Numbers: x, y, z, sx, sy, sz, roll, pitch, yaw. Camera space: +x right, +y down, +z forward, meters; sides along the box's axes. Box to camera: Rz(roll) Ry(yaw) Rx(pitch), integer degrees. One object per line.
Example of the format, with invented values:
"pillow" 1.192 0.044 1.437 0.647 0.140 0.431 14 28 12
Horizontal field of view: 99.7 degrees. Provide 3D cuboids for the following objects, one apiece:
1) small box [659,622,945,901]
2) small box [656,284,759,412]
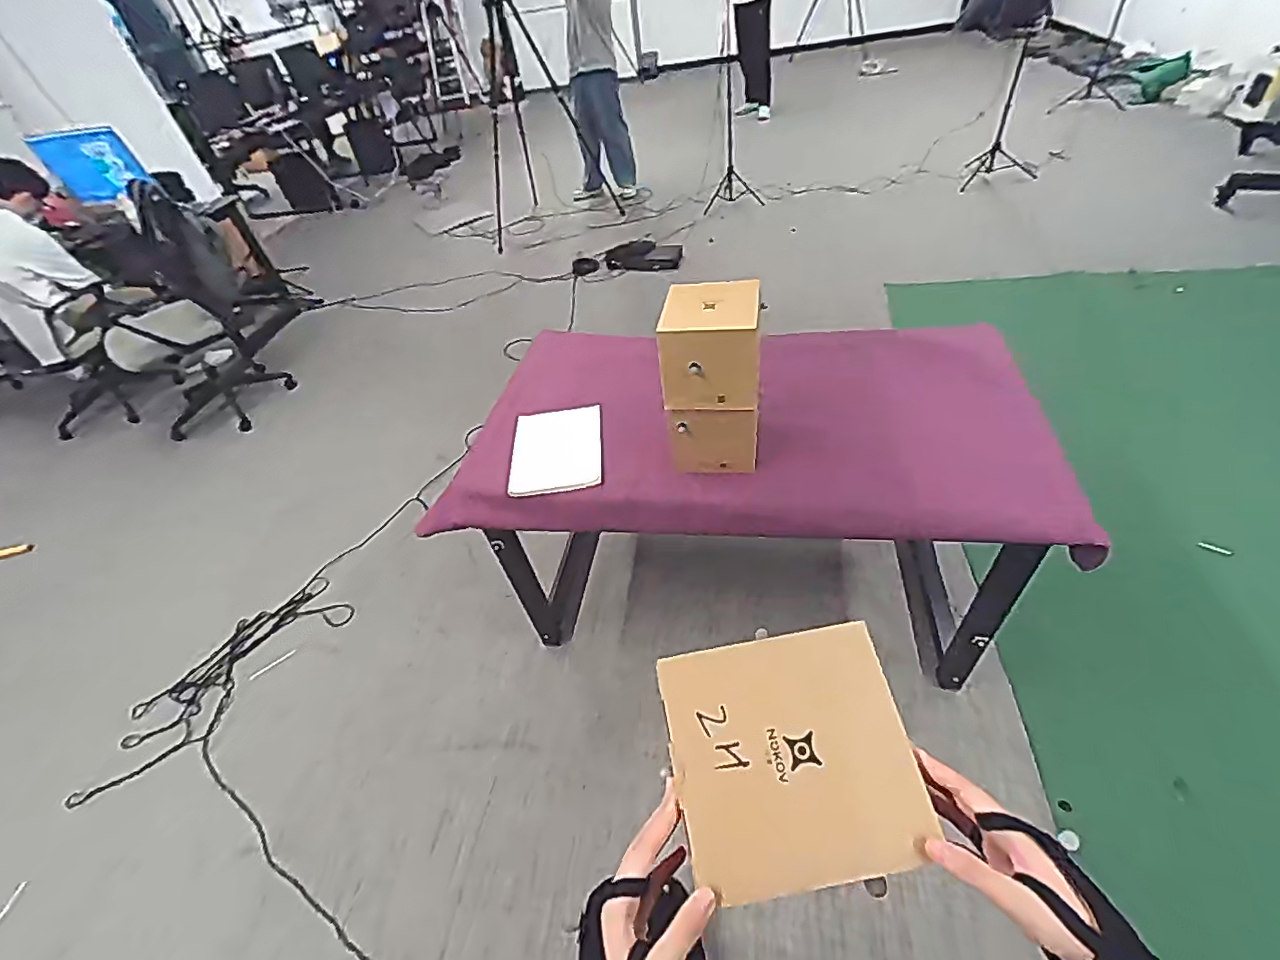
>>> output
"small box" 0.116 0.234 0.470 0.179 0.176 0.168 -10 62 0
"small box" 0.131 -0.238 0.989 0.168 0.176 0.179 2 44 13
